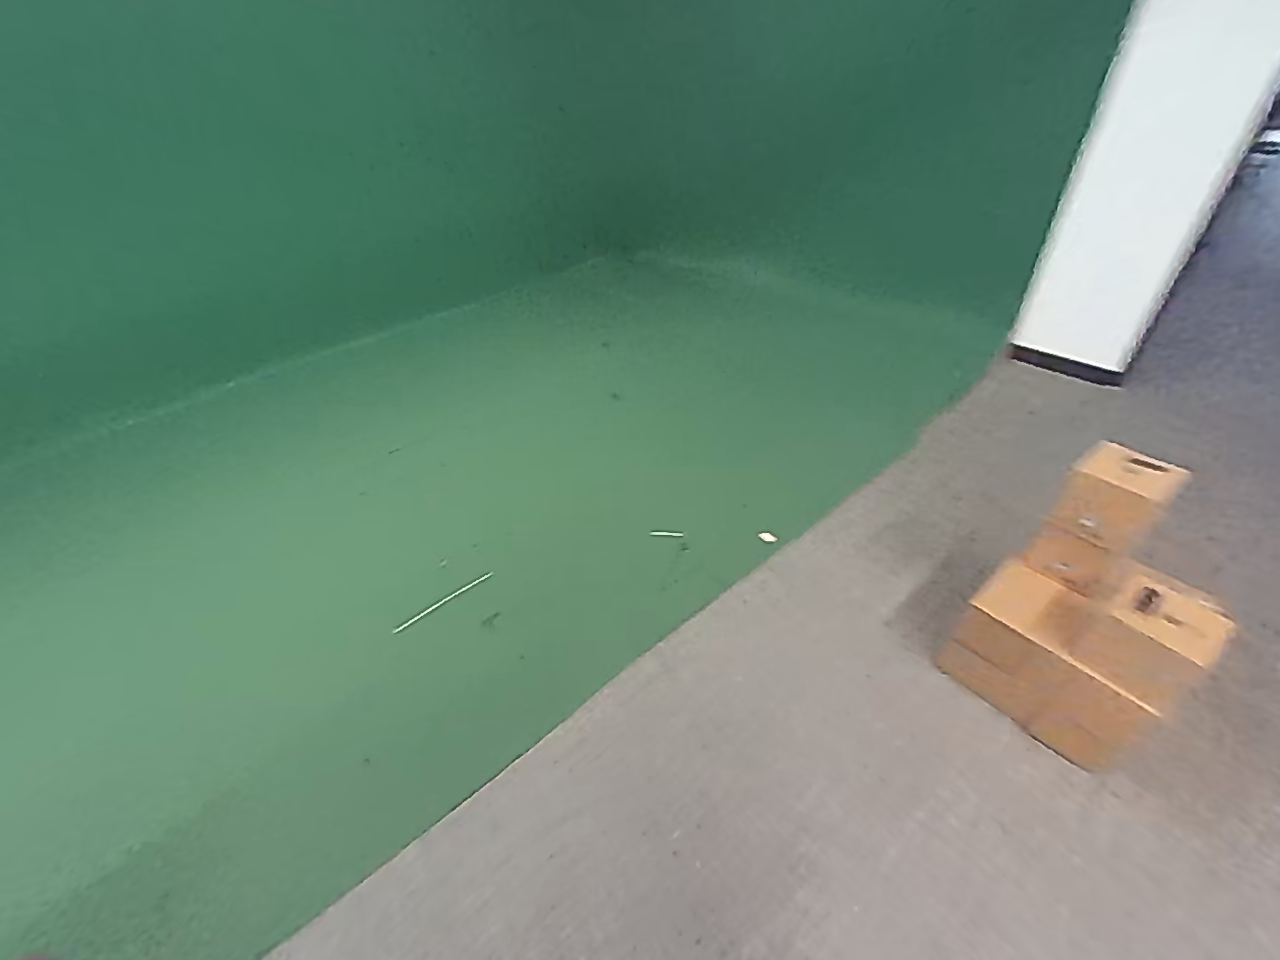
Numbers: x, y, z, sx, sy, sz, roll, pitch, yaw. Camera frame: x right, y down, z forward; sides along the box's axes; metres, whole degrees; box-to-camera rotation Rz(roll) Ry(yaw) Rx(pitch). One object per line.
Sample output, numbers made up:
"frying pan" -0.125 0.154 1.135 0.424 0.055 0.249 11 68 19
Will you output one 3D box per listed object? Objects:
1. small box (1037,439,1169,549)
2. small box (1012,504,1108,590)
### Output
"small box" 1.106 0.033 1.305 0.179 0.176 0.168 -27 43 -27
"small box" 1.121 0.152 1.419 0.179 0.176 0.168 -28 44 -28
